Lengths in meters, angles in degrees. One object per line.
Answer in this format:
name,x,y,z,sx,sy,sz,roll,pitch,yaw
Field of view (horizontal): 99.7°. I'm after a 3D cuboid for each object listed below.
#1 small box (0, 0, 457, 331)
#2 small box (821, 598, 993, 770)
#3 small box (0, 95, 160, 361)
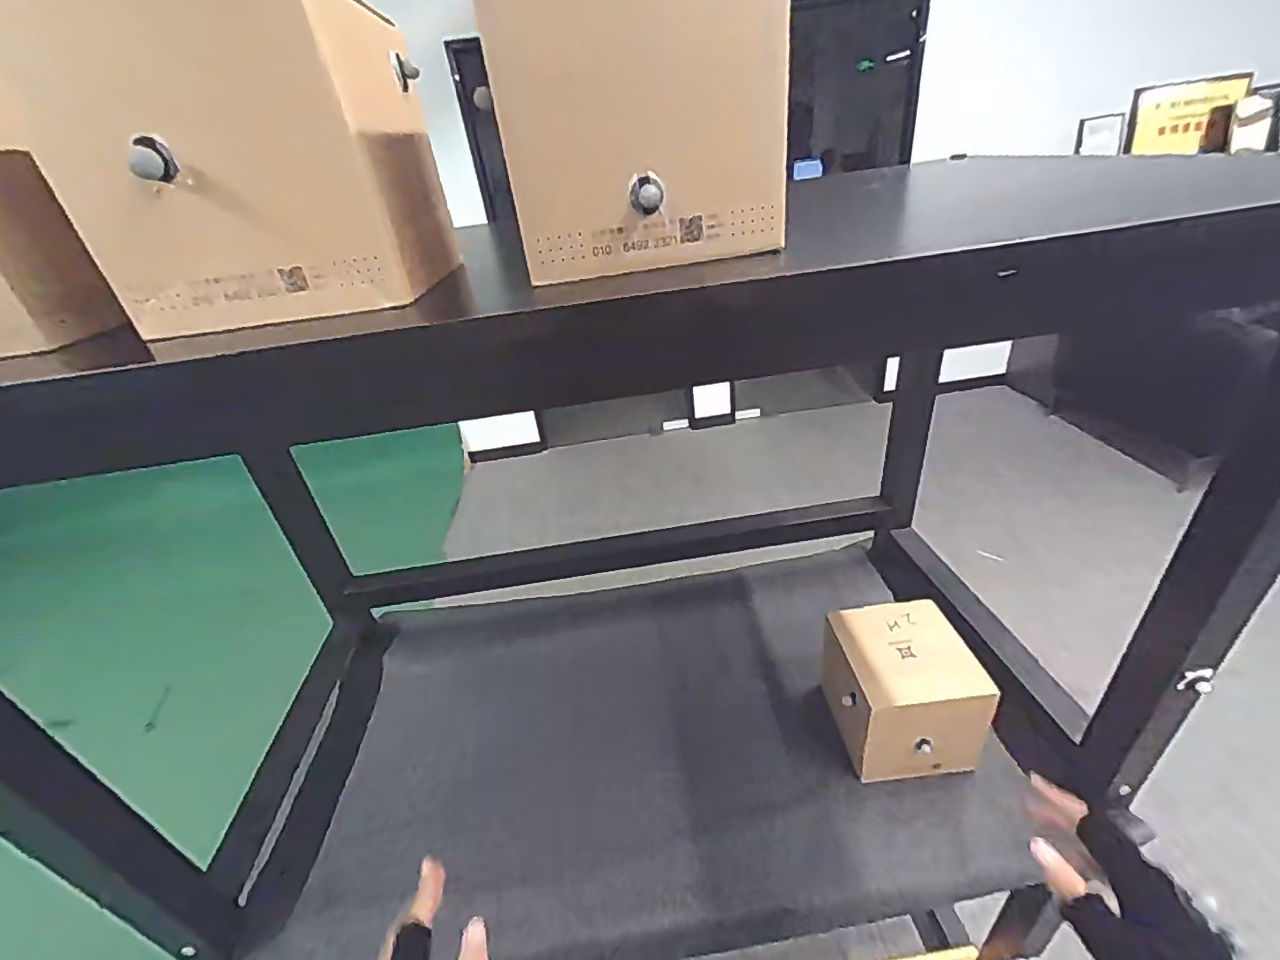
small box,-0.242,-0.207,0.370,0.168,0.176,0.179,-8,31,0
small box,0.376,0.304,0.798,0.168,0.176,0.179,-7,30,1
small box,-0.466,-0.184,0.377,0.168,0.176,0.179,-8,32,-1
